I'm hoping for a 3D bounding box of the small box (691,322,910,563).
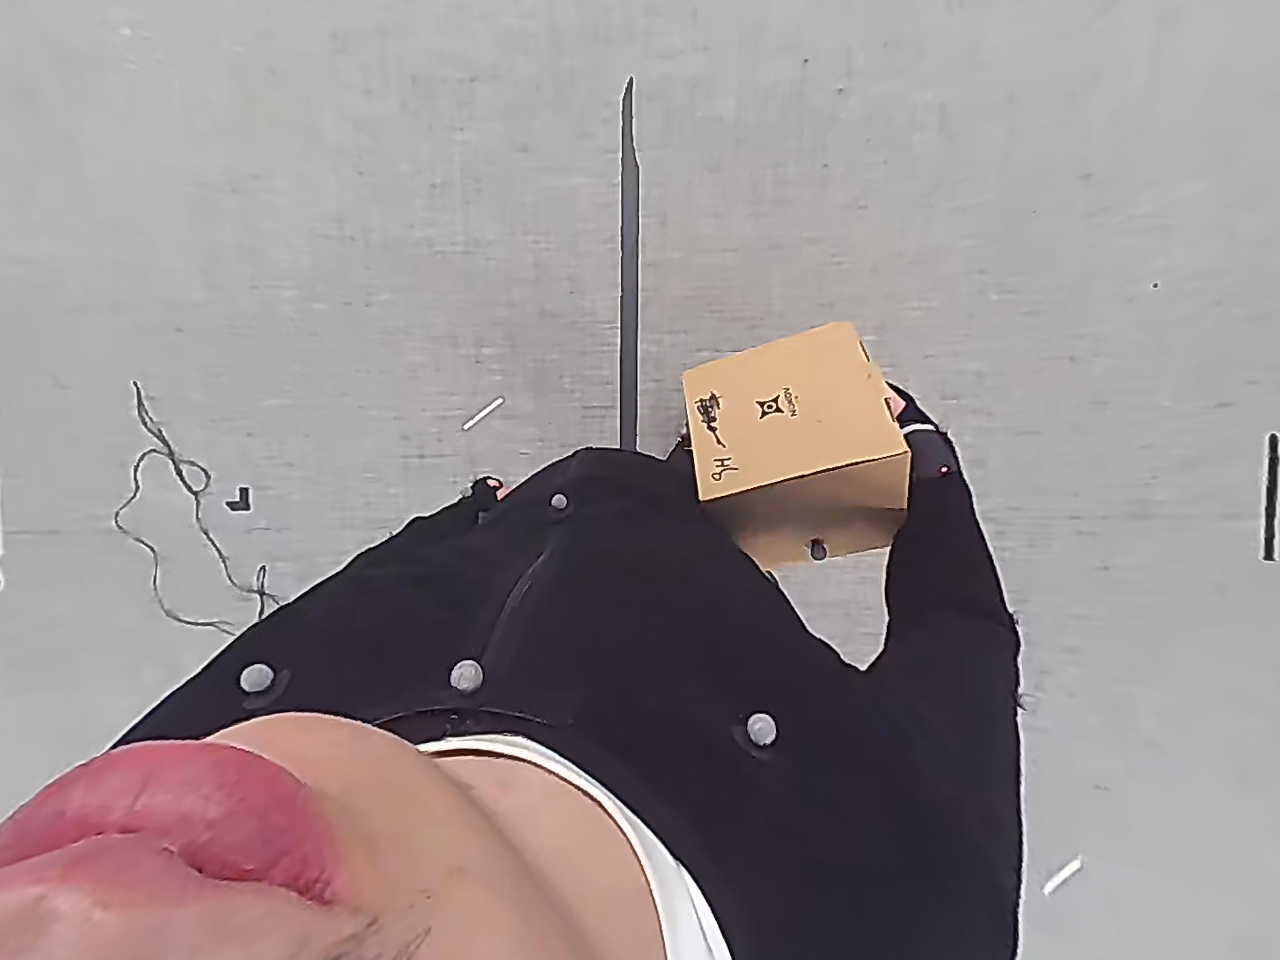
[{"bbox_3d":[0.164,-0.030,0.573,0.179,0.176,0.168,-14,52,15],"label":"small box"}]
